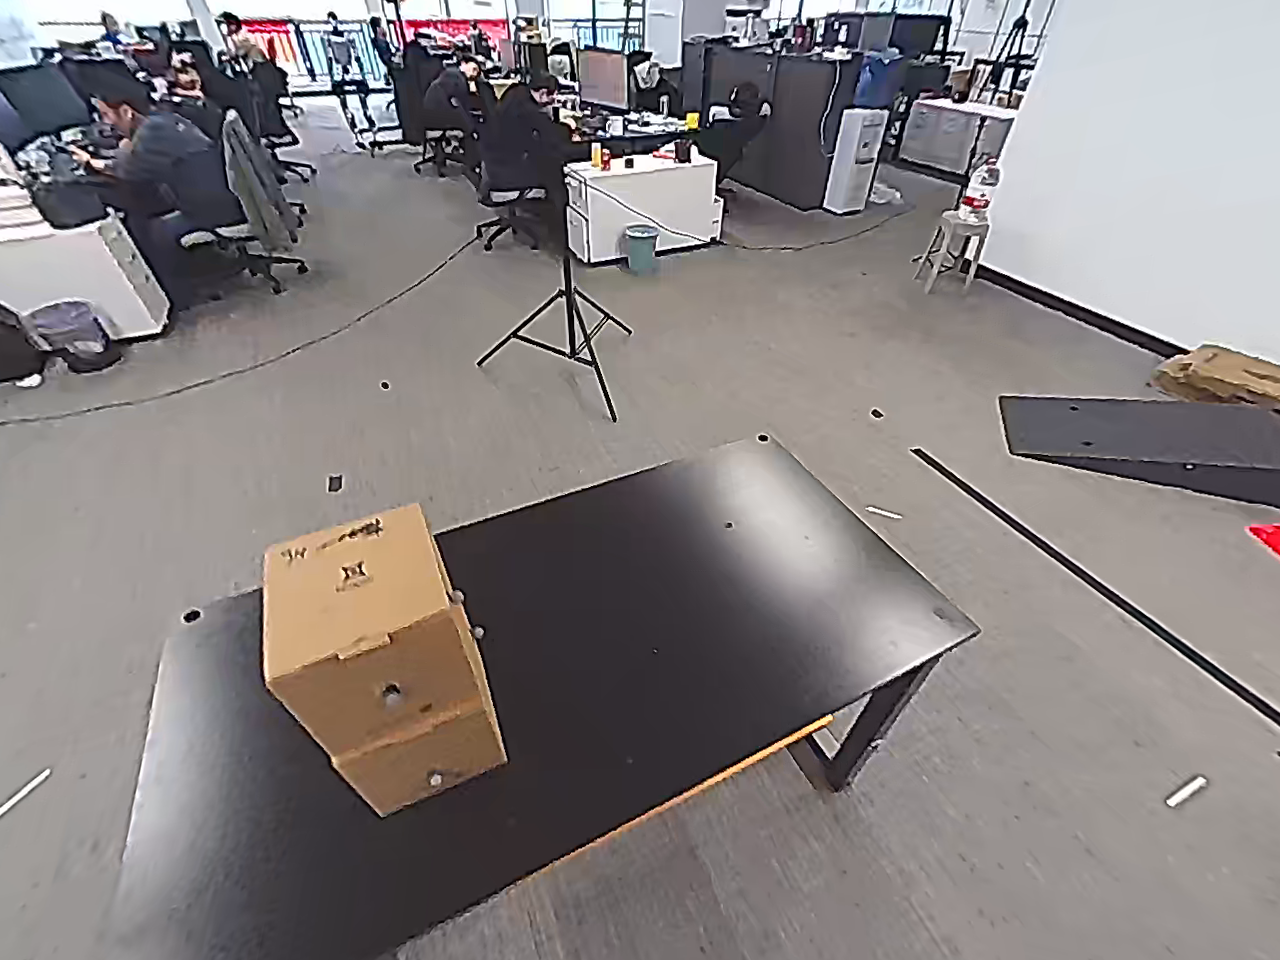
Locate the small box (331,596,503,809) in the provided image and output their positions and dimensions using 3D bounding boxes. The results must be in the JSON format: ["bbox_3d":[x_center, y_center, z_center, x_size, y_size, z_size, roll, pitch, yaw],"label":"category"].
[{"bbox_3d":[-0.291,0.291,0.716,0.168,0.176,0.179,-16,45,-18],"label":"small box"}]

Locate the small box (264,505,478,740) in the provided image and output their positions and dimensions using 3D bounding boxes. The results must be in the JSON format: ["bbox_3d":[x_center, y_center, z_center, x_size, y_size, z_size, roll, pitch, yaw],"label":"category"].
[{"bbox_3d":[-0.296,0.164,0.612,0.168,0.176,0.179,-18,46,-20],"label":"small box"}]
